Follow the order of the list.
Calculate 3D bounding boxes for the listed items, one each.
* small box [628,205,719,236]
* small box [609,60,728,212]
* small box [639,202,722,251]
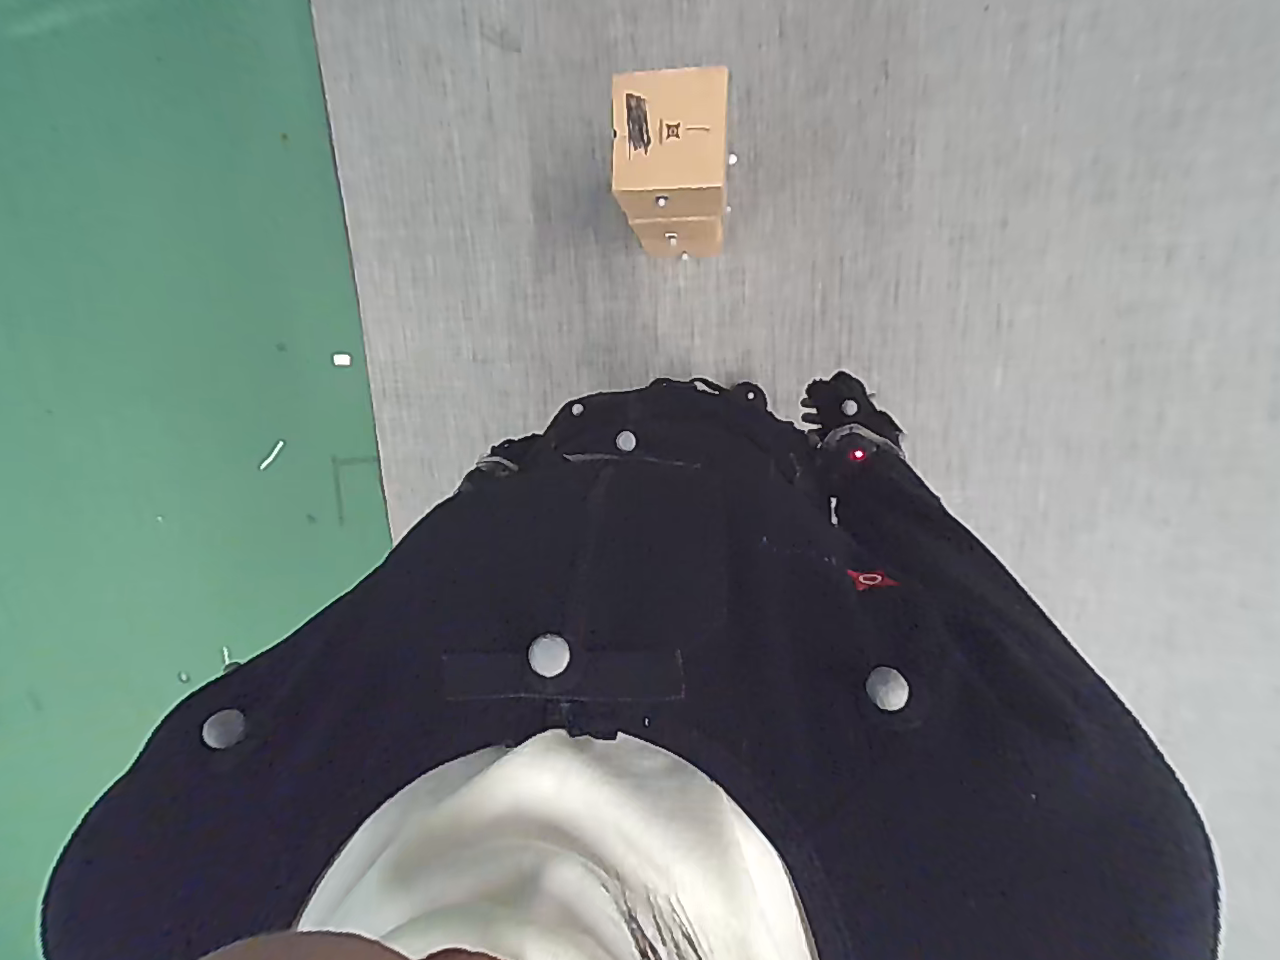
[{"bbox_3d":[0.071,-0.590,1.058,0.168,0.176,0.179,2,104,10],"label":"small box"},{"bbox_3d":[0.052,-0.555,0.897,0.179,0.176,0.168,3,103,9],"label":"small box"},{"bbox_3d":[0.096,-0.620,1.215,0.179,0.176,0.168,3,103,8],"label":"small box"}]
